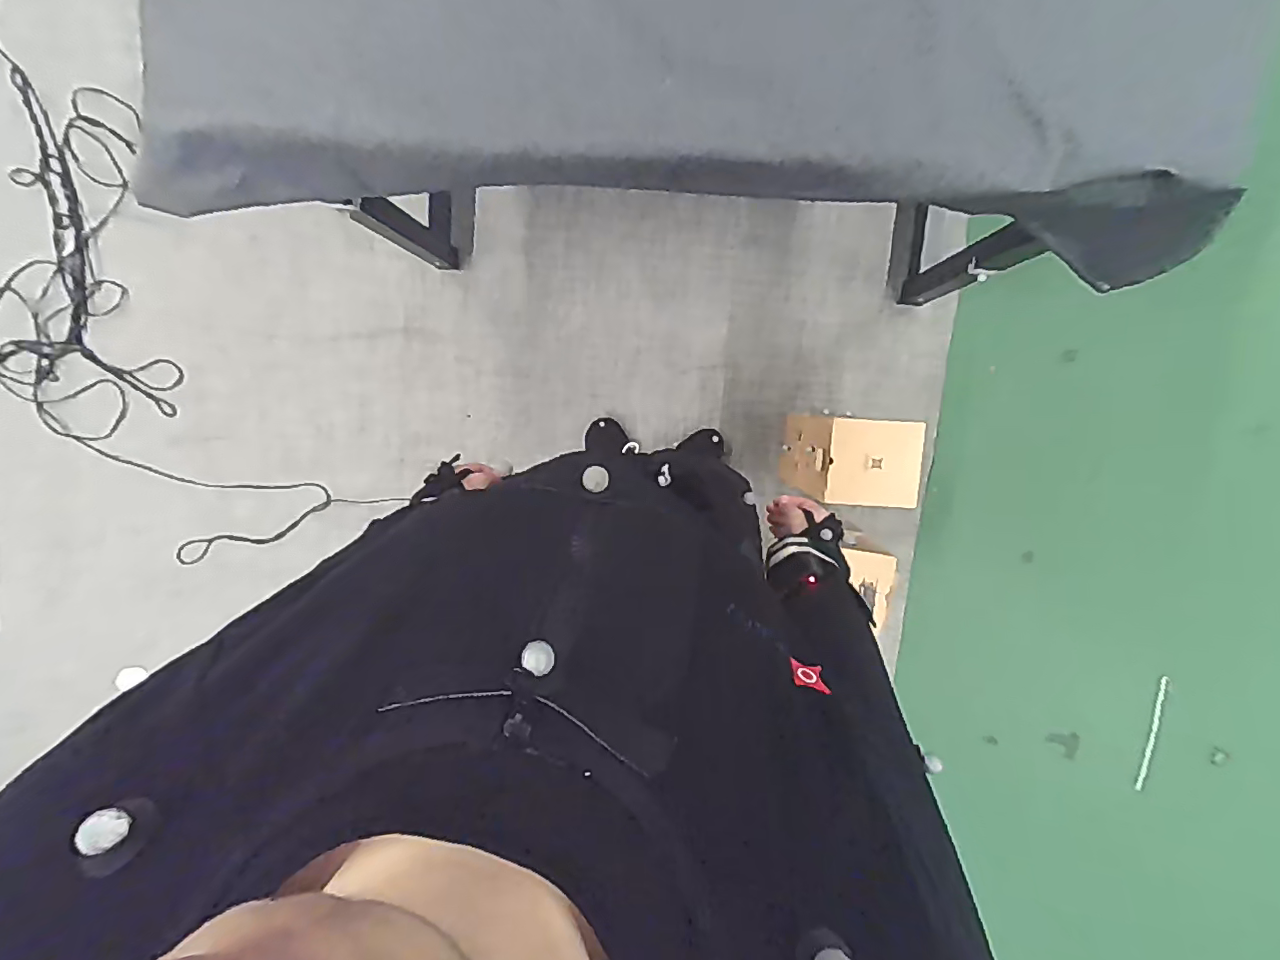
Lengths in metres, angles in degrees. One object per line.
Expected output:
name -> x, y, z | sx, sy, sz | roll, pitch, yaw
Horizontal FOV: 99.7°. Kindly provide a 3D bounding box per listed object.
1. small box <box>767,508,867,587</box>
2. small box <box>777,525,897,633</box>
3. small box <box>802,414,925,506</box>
small box -> 0.415, 0.170, 1.294 | 0.179, 0.176, 0.168 | 10, 97, 4
small box -> 0.402, 0.198, 1.132 | 0.179, 0.176, 0.168 | 10, 97, 3
small box -> 0.444, -0.047, 1.096 | 0.179, 0.176, 0.168 | 3, 98, 3
